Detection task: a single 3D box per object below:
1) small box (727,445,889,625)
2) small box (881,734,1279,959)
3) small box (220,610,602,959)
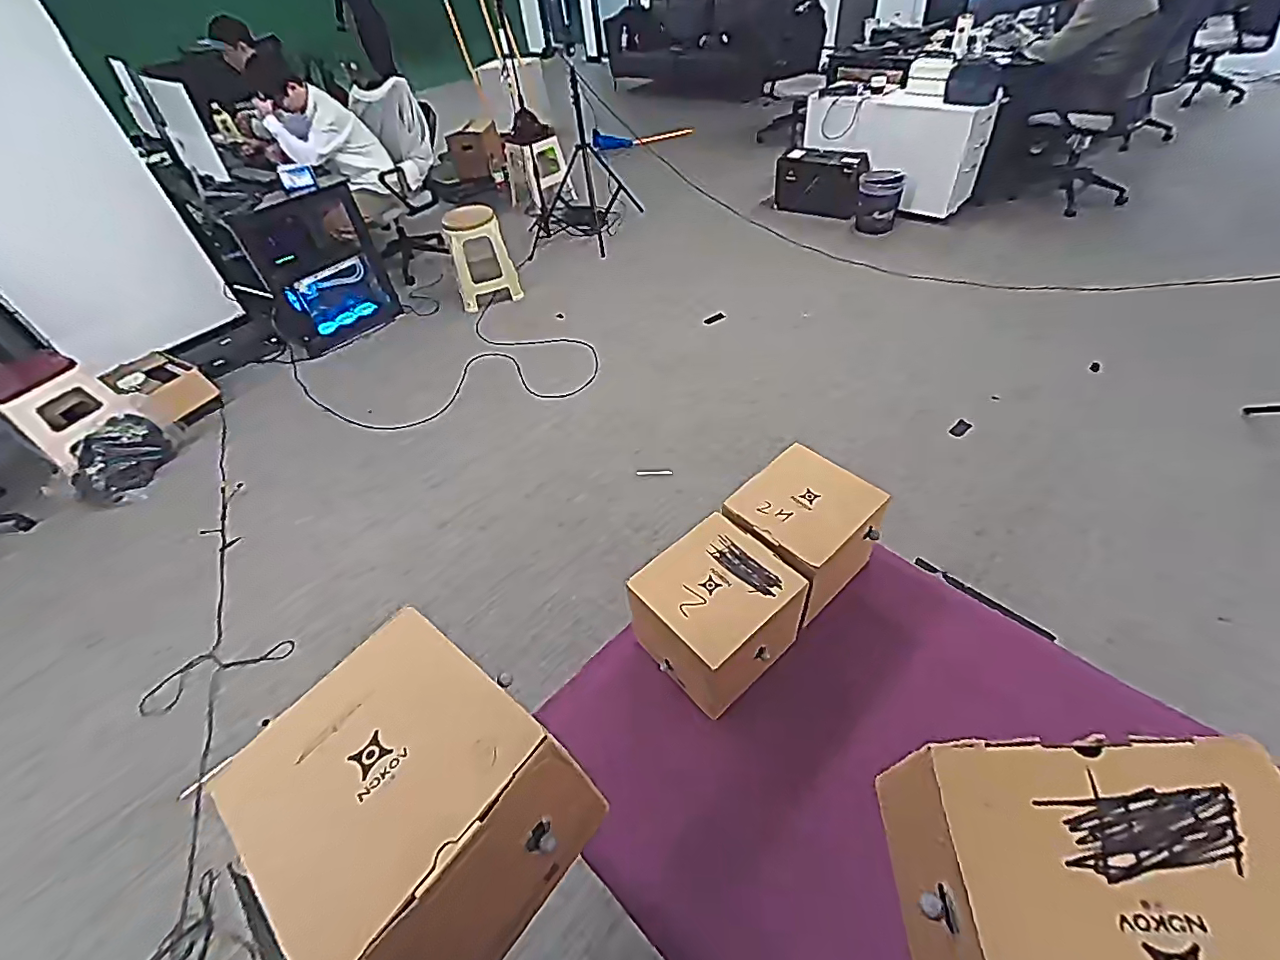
[{"bbox_3d":[0.246,0.084,0.835,0.179,0.176,0.168,-36,52,-24],"label":"small box"},{"bbox_3d":[0.257,0.259,0.315,0.168,0.176,0.179,-6,55,8],"label":"small box"},{"bbox_3d":[-0.152,0.239,0.407,0.179,0.176,0.168,24,55,34],"label":"small box"}]
